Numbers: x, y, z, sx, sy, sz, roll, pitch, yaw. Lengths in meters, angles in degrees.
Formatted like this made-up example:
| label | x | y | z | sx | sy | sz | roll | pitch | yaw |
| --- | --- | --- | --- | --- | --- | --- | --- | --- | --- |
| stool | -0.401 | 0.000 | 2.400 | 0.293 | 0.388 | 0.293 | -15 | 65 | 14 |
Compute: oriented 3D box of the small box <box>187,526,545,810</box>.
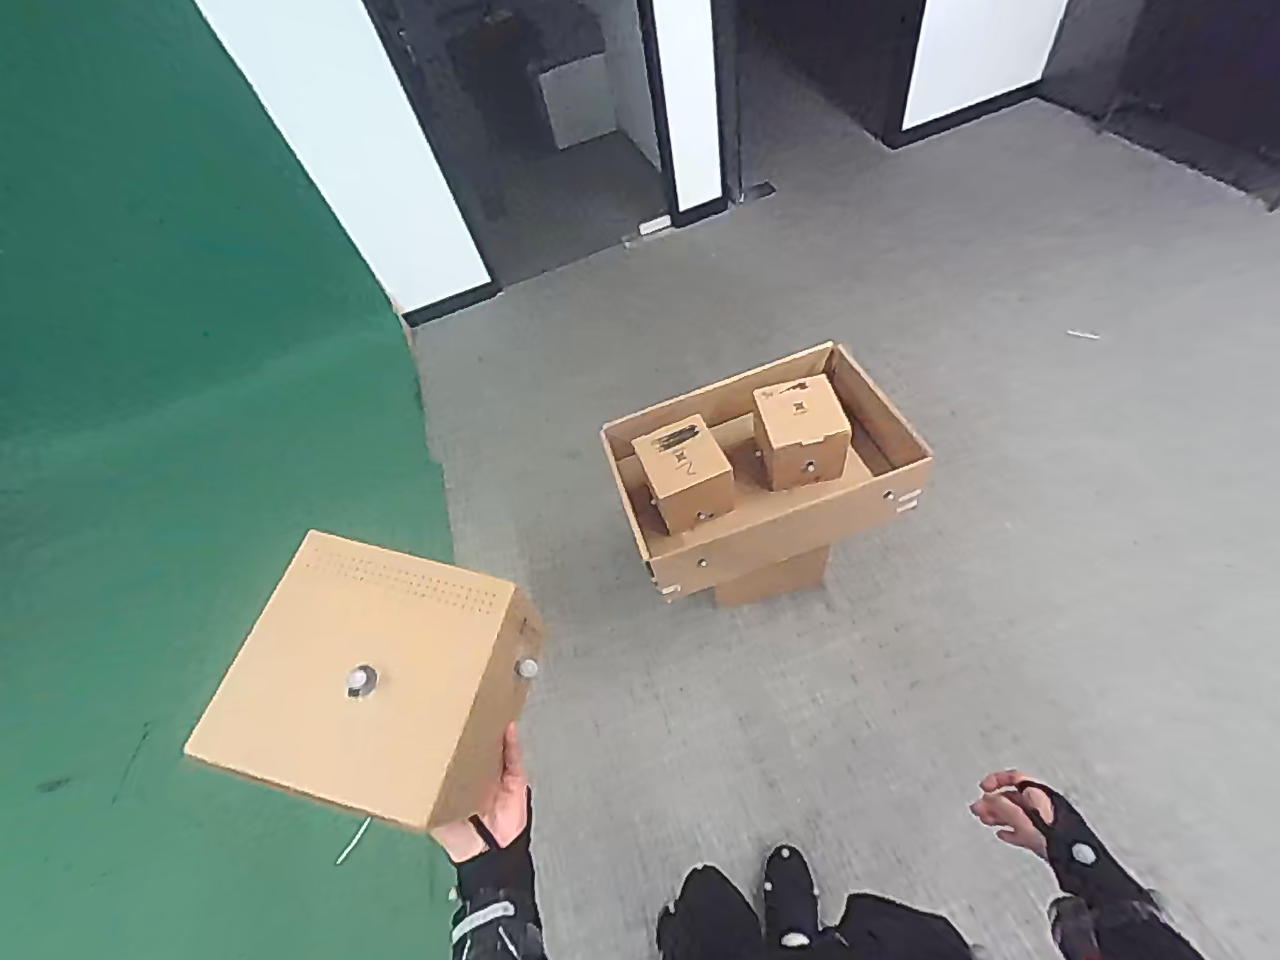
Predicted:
| label | x | y | z | sx | sy | sz | roll | pitch | yaw |
| --- | --- | --- | --- | --- | --- | --- | --- | --- | --- |
| small box | -0.197 | 0.154 | 0.452 | 0.179 | 0.168 | 0.176 | 13 | 62 | 6 |
